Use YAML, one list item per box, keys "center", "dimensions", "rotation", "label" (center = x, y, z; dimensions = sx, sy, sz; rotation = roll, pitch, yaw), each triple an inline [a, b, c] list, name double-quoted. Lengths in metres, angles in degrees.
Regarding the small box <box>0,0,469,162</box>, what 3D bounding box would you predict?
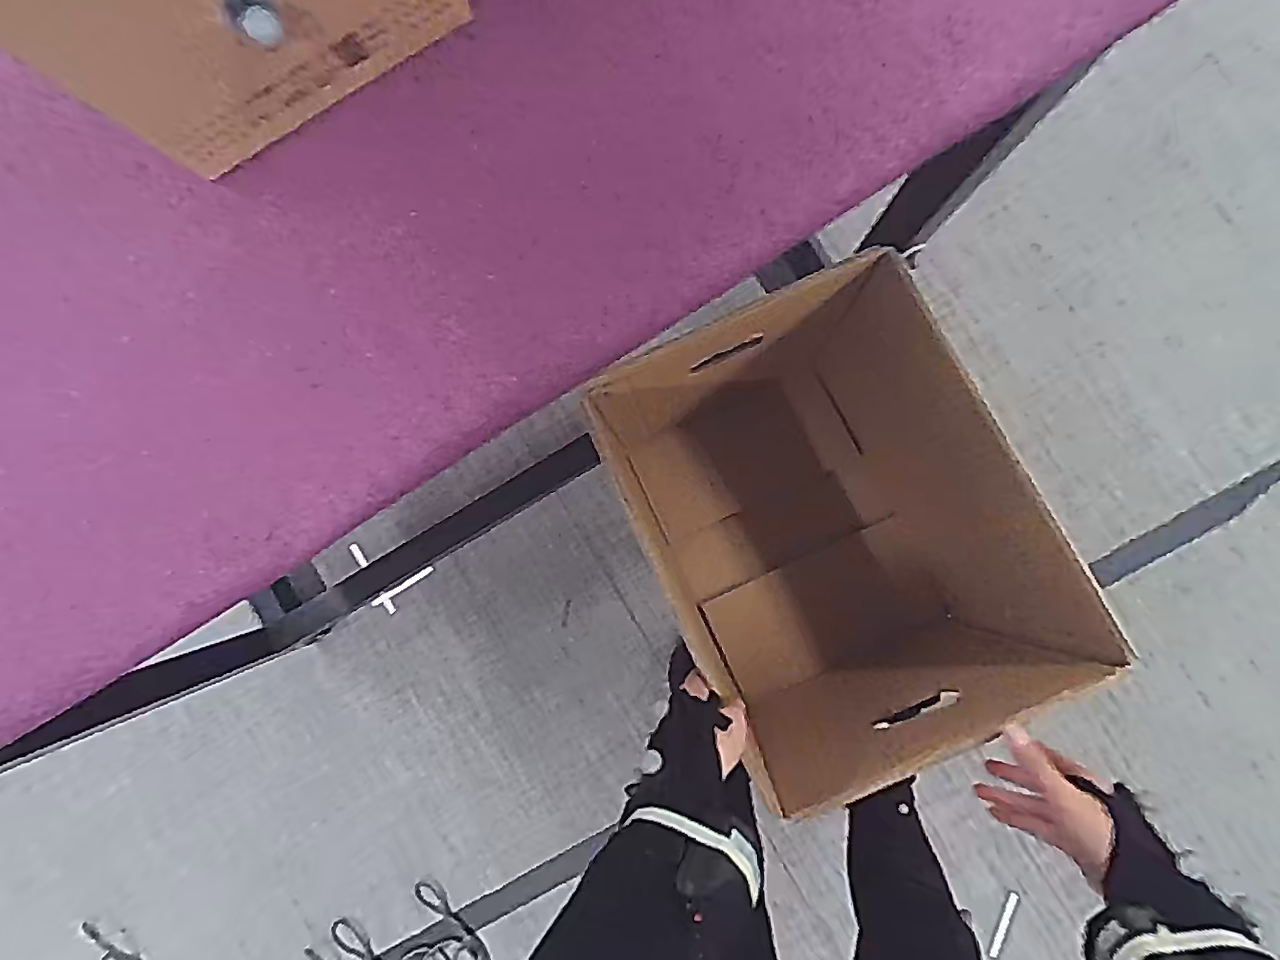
- center: [-0.199, -0.276, 0.207]
  dimensions: [0.168, 0.176, 0.179]
  rotation: [-28, 87, 4]
  label: "small box"
